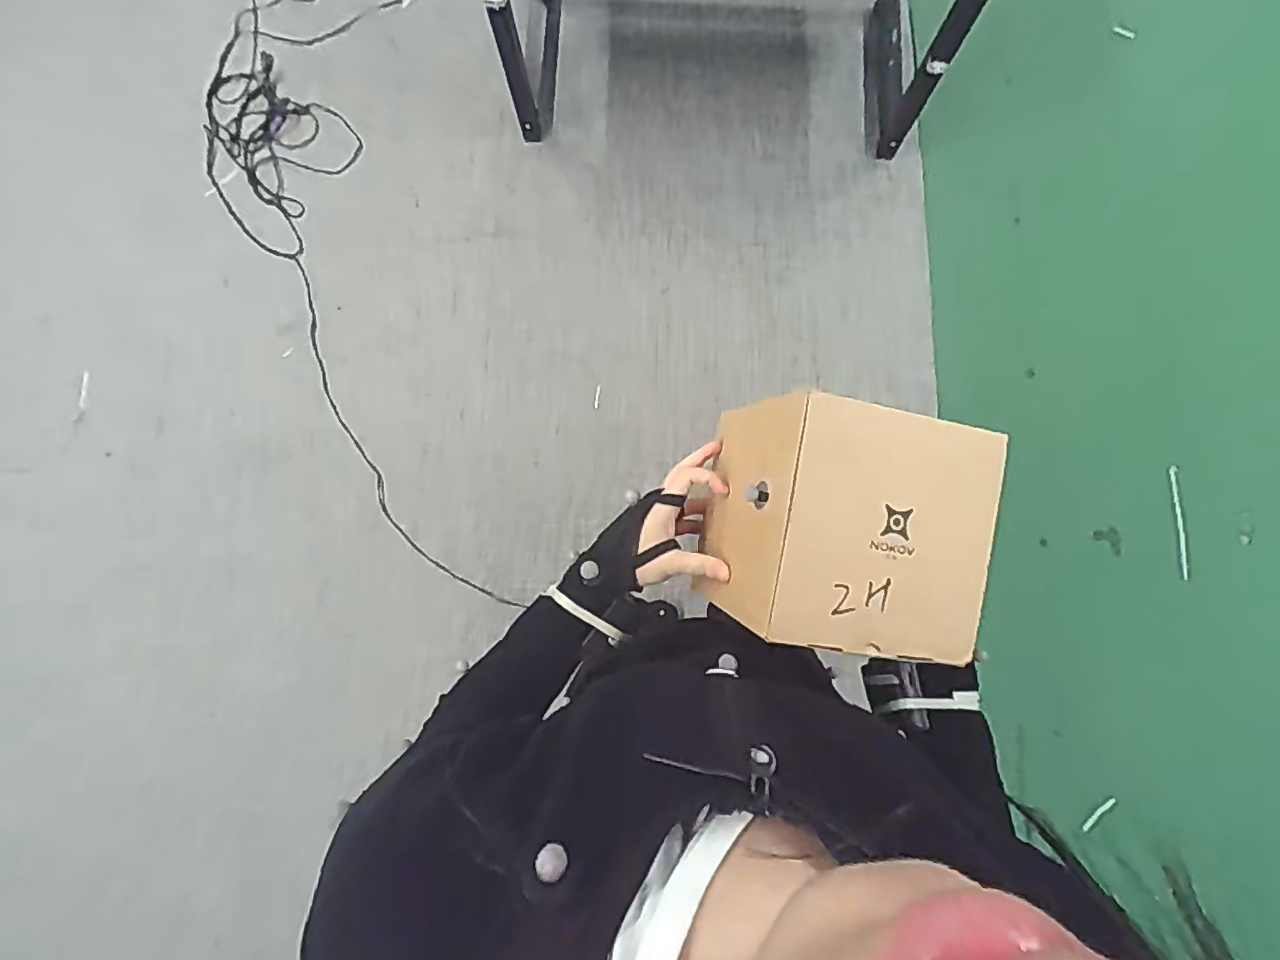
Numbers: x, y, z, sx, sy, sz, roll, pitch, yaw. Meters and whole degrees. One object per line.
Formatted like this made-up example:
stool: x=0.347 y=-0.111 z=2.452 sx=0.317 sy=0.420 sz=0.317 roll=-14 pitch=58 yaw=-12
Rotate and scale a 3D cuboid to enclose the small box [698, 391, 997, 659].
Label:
small box: x=0.161 y=0.035 z=0.468 sx=0.168 sy=0.176 sz=0.179 roll=10 pitch=90 yaw=-12
